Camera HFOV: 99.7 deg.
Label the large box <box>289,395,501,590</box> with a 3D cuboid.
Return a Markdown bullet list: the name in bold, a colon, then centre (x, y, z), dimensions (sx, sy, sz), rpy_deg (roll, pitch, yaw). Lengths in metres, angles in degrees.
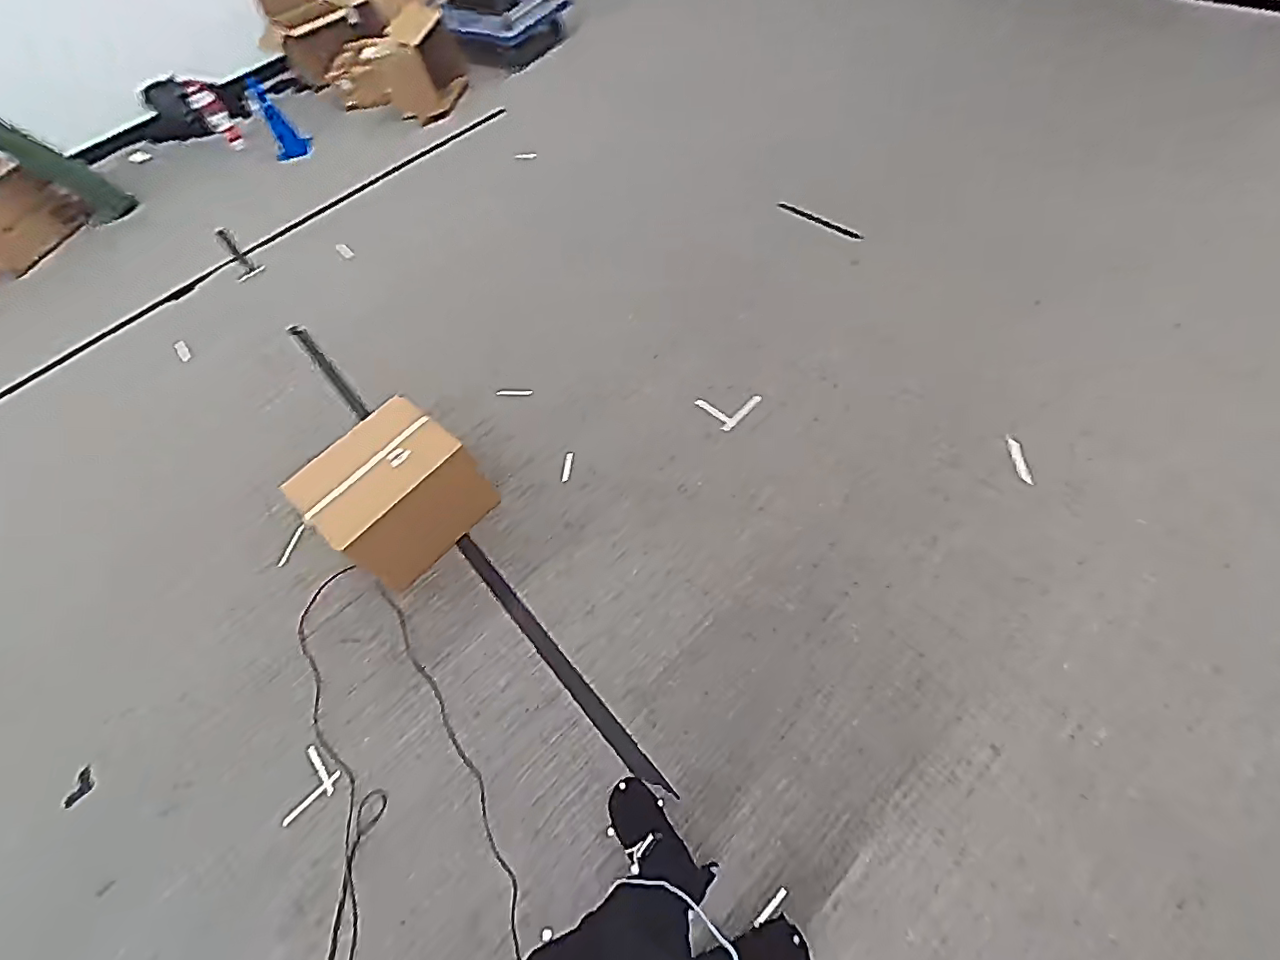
- **large box**: centre (-0.693, 0.039, 1.582), dimensions (0.320, 0.320, 0.408), rpy_deg (36, 69, 25)
